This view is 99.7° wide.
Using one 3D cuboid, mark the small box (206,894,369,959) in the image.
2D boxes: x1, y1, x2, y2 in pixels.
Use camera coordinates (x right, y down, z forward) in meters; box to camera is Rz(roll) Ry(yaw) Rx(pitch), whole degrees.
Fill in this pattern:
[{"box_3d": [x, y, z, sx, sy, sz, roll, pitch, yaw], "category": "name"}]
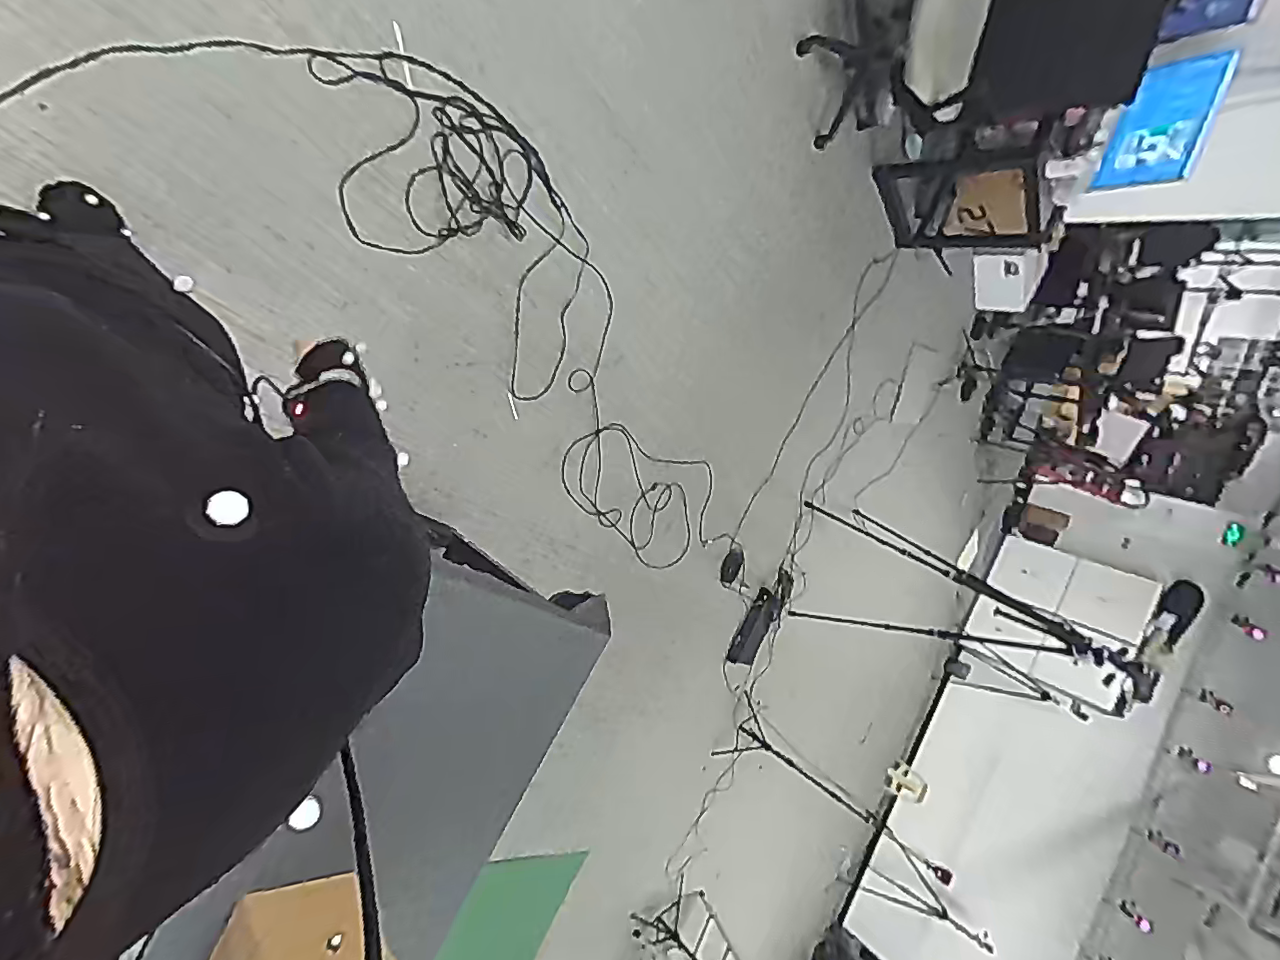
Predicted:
[{"box_3d": [-0.518, 0.746, 0.778, 0.179, 0.176, 0.168, 32, 82, -49], "category": "small box"}]
